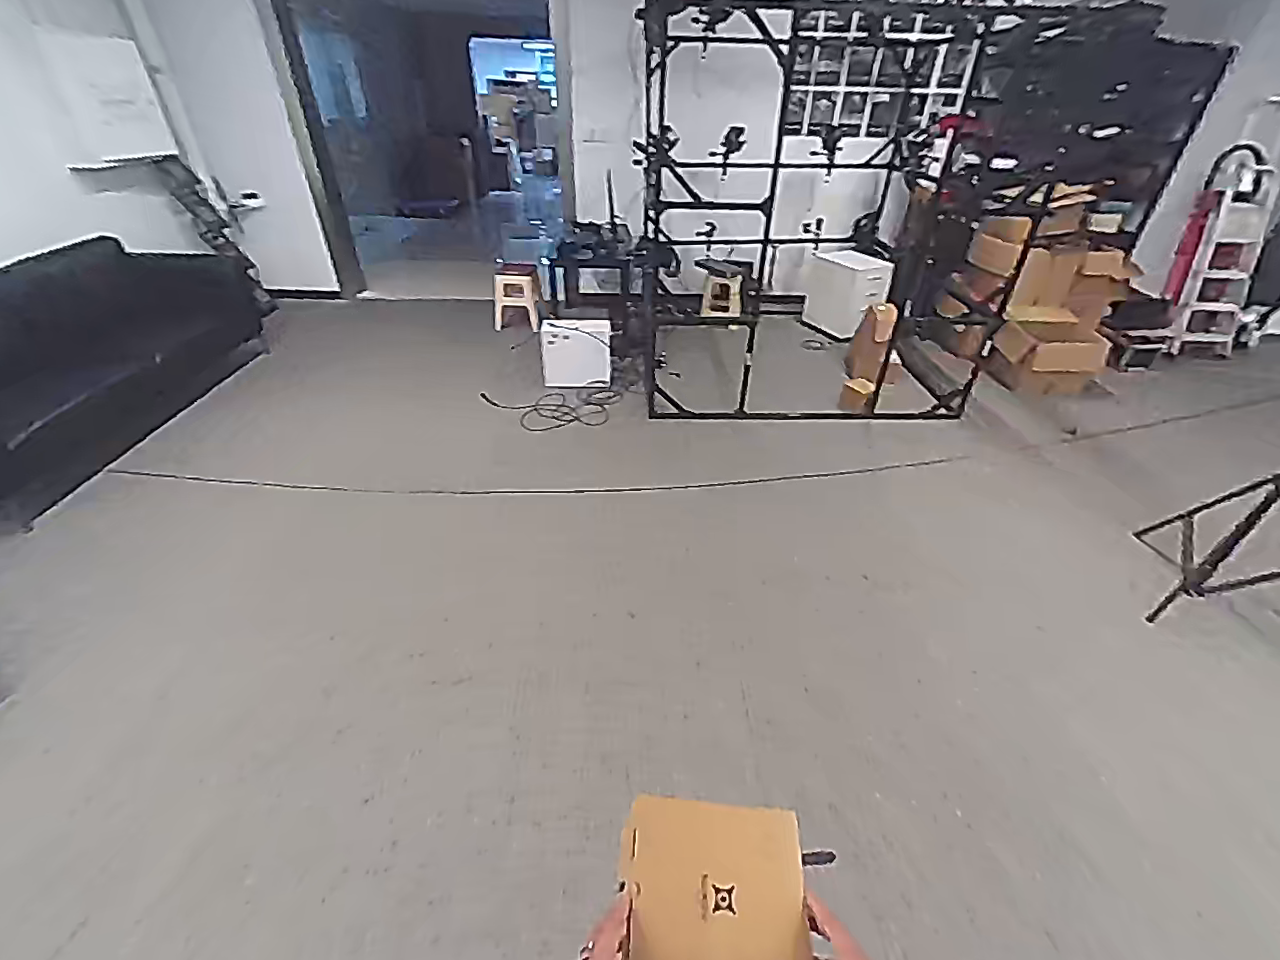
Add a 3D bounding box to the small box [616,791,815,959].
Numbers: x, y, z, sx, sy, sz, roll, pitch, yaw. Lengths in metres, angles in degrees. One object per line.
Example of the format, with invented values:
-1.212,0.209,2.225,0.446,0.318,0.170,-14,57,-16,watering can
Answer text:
0.072,0.458,0.587,0.179,0.176,0.168,6,47,-1,small box
